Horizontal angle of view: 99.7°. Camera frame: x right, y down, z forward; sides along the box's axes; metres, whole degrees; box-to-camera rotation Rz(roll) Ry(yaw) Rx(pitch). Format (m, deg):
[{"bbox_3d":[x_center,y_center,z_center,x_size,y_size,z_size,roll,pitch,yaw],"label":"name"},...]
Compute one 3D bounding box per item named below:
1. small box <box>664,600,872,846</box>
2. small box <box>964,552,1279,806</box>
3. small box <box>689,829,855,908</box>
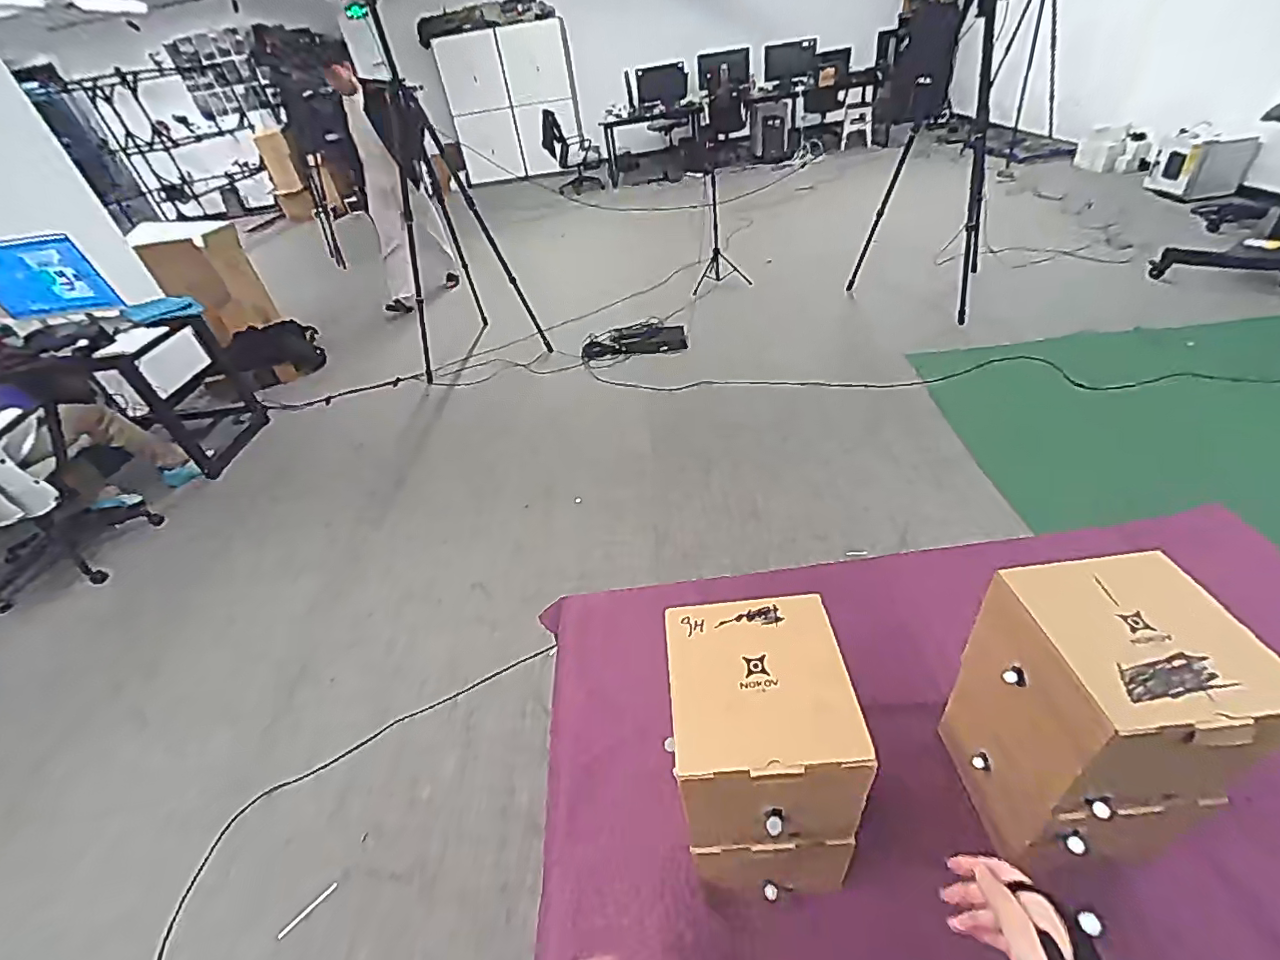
[{"bbox_3d":[0.118,0.251,0.553,0.168,0.176,0.179,-7,38,3],"label":"small box"},{"bbox_3d":[0.461,0.200,0.538,0.168,0.176,0.179,-8,37,3],"label":"small box"},{"bbox_3d":[0.141,0.381,0.652,0.168,0.176,0.179,-8,38,4],"label":"small box"}]
